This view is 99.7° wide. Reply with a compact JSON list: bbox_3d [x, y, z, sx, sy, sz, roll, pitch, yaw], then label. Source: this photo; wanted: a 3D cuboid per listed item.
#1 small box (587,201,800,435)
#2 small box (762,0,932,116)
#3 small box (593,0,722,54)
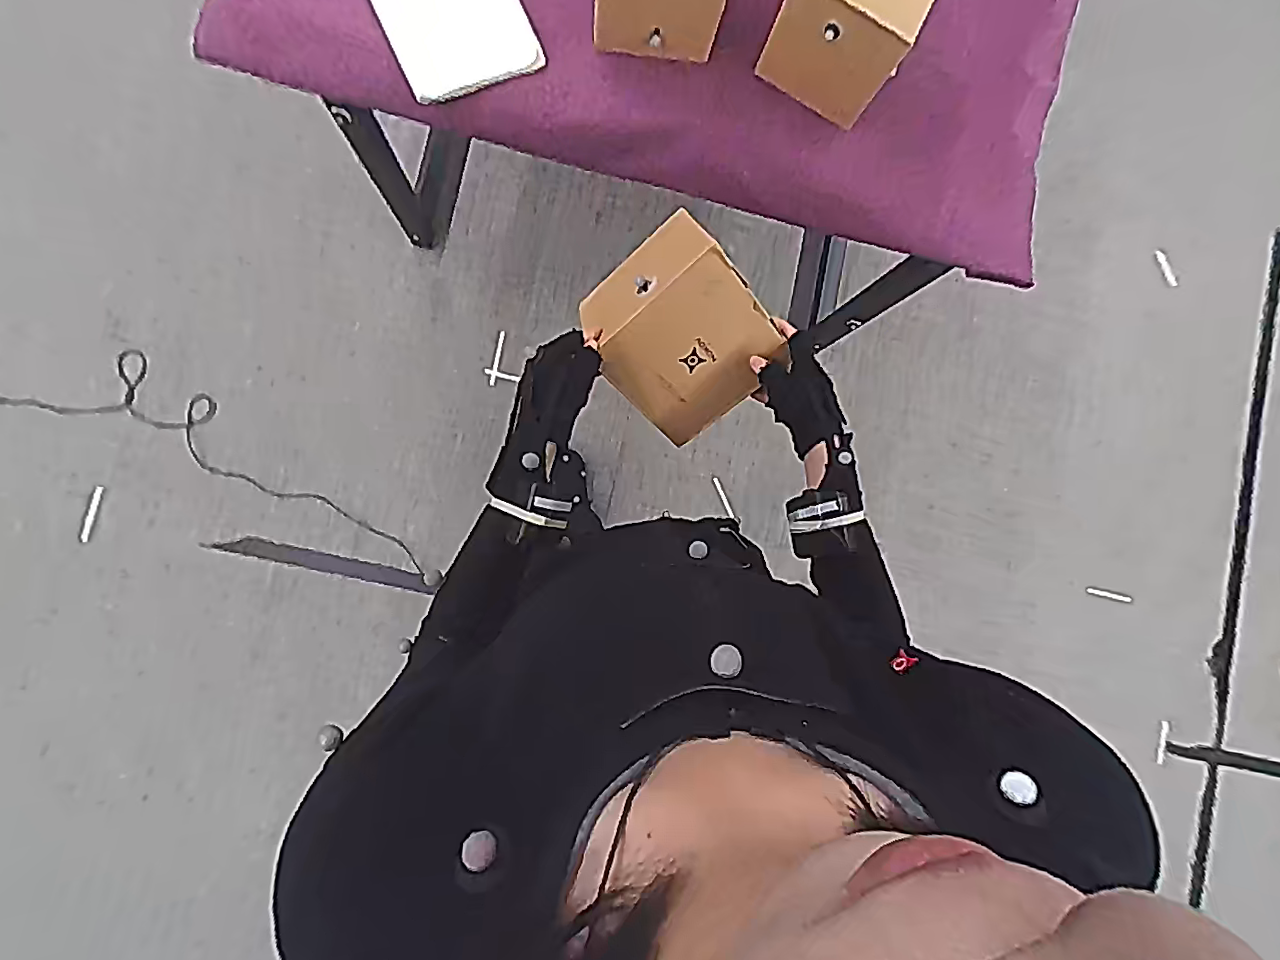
[{"bbox_3d":[0.050,-0.194,0.638,0.179,0.176,0.168,-38,123,19],"label":"small box"},{"bbox_3d":[0.301,-0.673,0.769,0.179,0.176,0.168,28,84,-5],"label":"small box"},{"bbox_3d":[0.028,-0.733,0.742,0.179,0.176,0.168,1,87,-8],"label":"small box"}]
